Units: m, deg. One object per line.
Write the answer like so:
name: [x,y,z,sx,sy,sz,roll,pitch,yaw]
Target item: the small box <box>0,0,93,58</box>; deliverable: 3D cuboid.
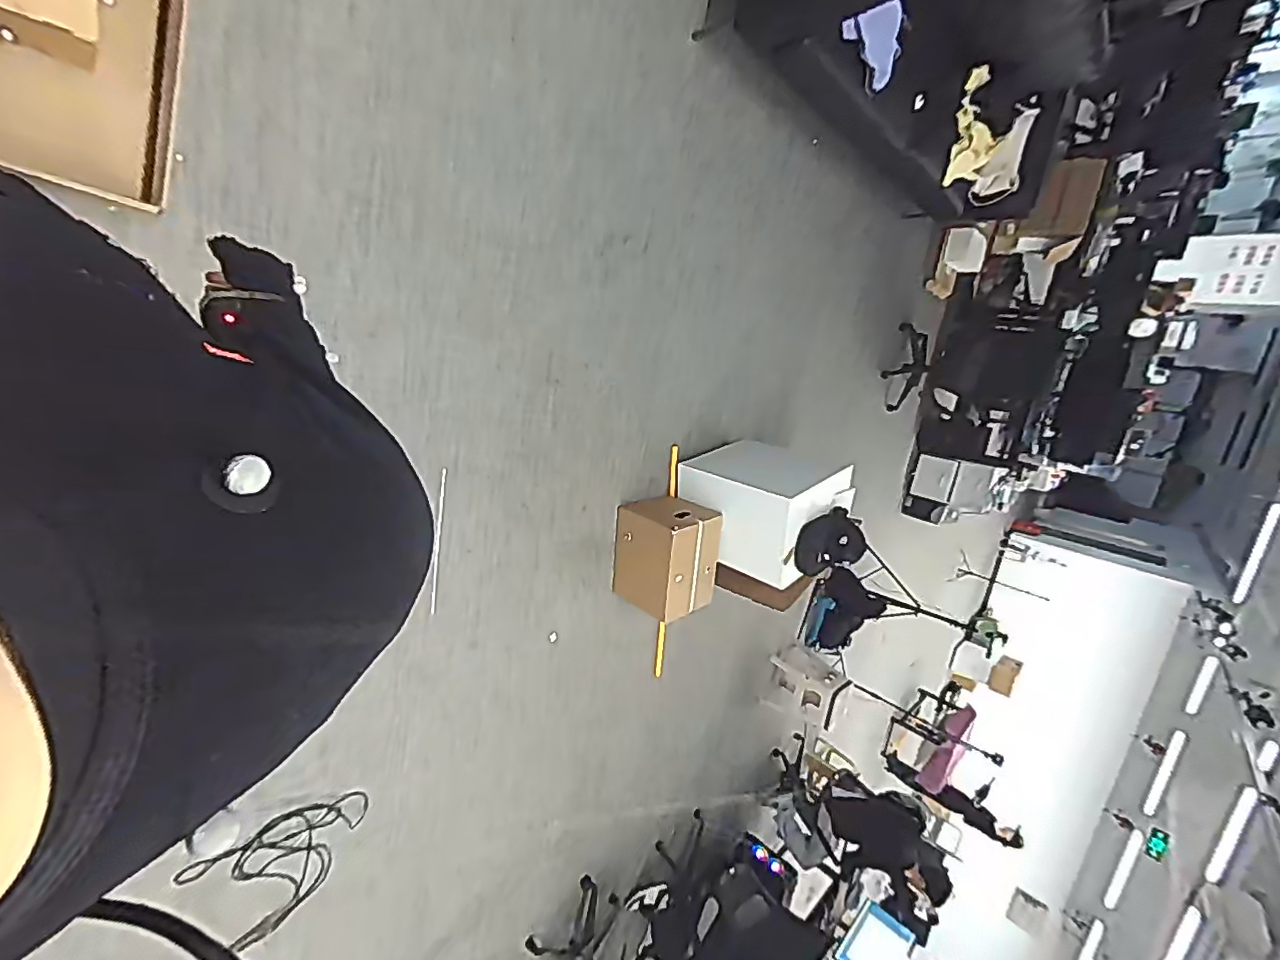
small box: [-0.918,-0.765,0.783,0.168,0.176,0.179,-3,108,-48]
